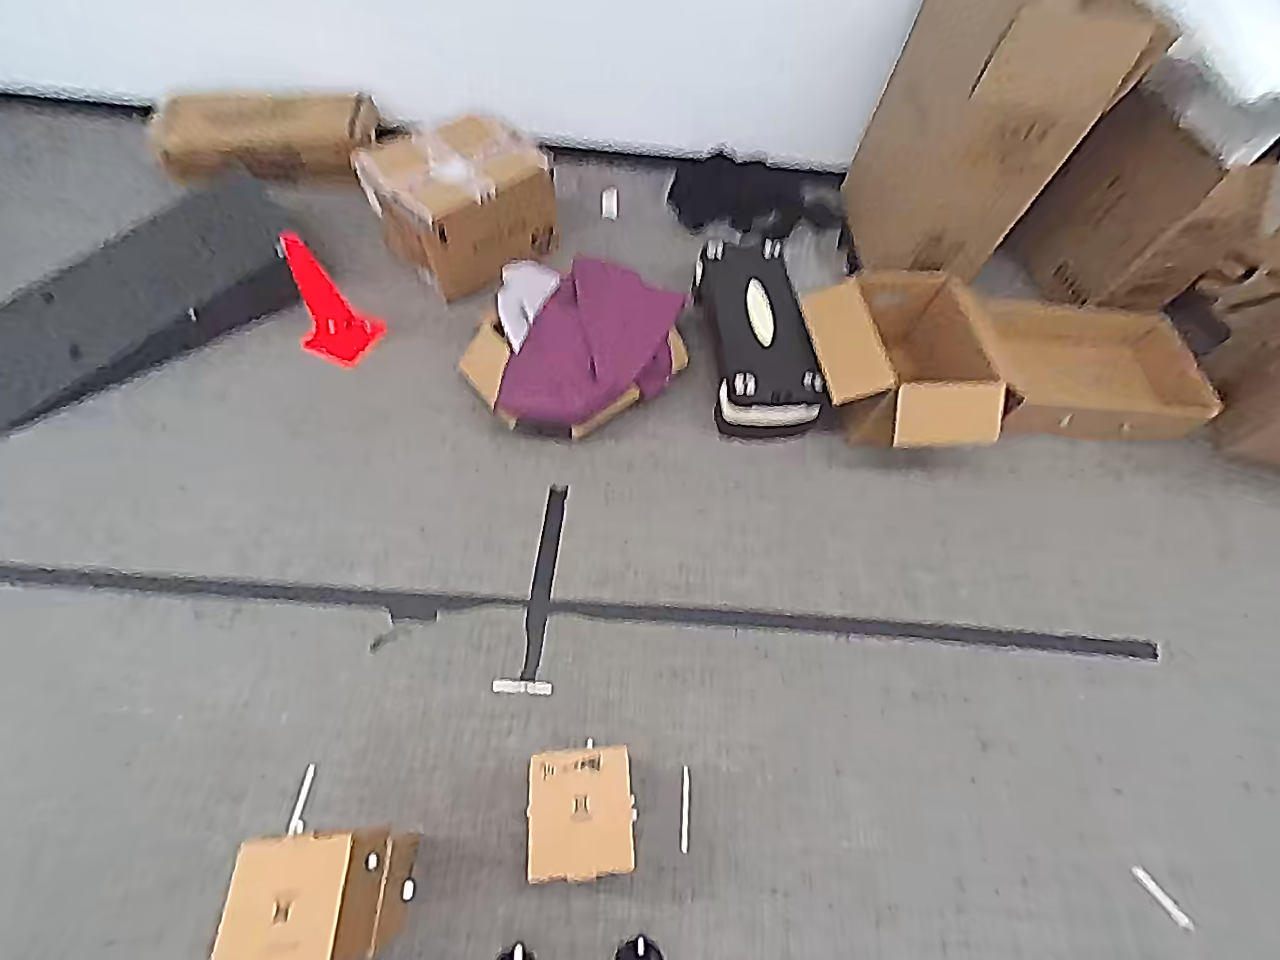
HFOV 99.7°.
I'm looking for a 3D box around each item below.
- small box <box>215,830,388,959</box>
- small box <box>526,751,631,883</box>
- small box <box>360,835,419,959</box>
[{"bbox_3d":[-0.519,0.664,0.855,0.168,0.176,0.179,-2,62,-4],"label":"small box"},{"bbox_3d":[-0.103,0.574,0.940,0.168,0.176,0.179,-2,61,-5],"label":"small box"},{"bbox_3d":[-0.530,0.755,0.990,0.179,0.176,0.168,2,60,-4],"label":"small box"}]
